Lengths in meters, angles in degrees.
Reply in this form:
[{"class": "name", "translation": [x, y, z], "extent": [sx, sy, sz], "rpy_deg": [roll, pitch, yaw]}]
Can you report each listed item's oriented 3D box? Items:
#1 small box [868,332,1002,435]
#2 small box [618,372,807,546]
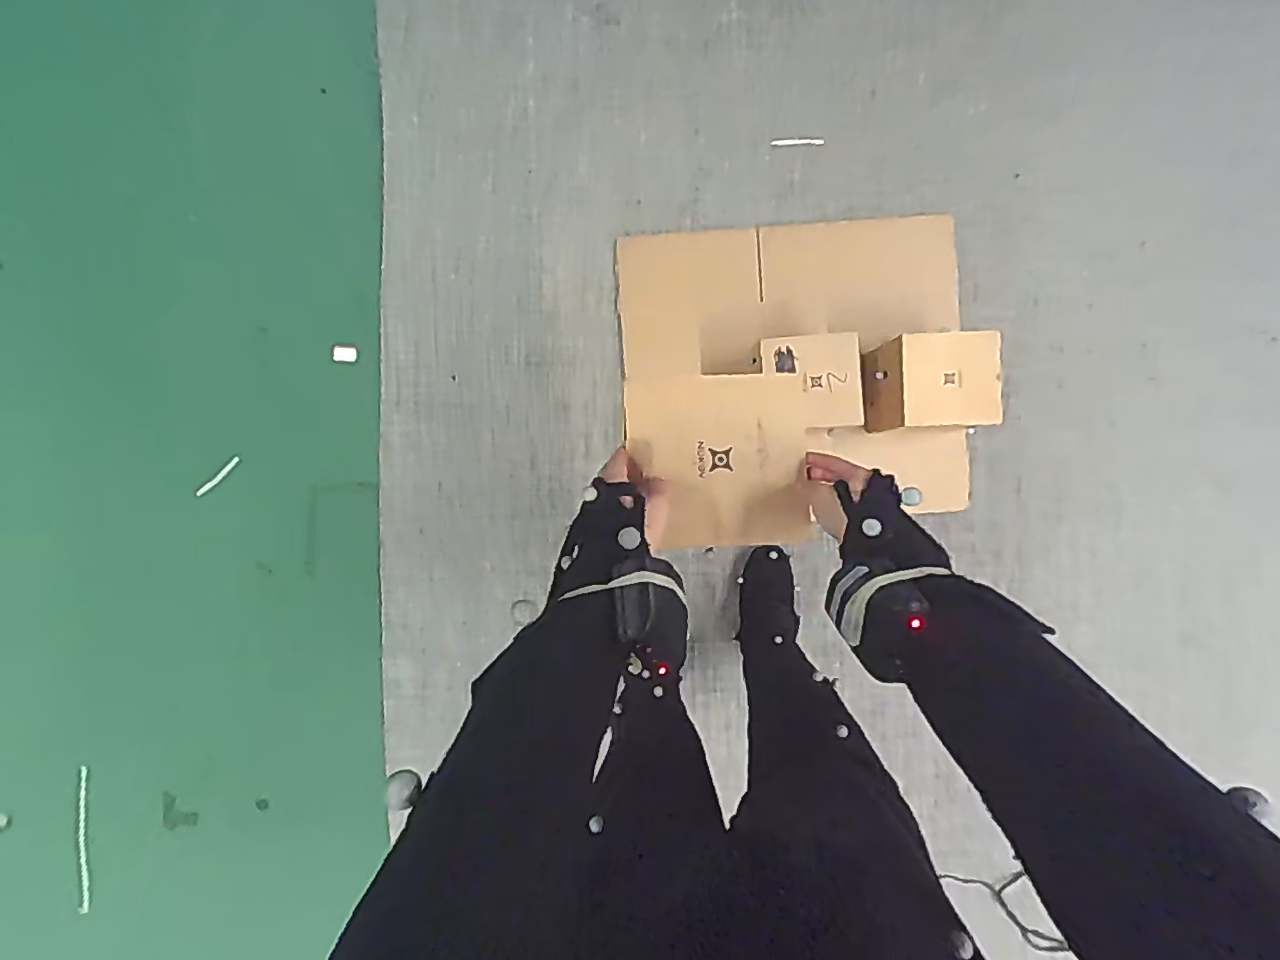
[{"class": "small box", "translation": [0.545, -0.175, 1.023], "extent": [0.179, 0.176, 0.168], "rpy_deg": [-1, 91, 1]}, {"class": "small box", "translation": [0.066, -0.015, 0.593], "extent": [0.179, 0.176, 0.168], "rpy_deg": [-2, 86, -4]}]
